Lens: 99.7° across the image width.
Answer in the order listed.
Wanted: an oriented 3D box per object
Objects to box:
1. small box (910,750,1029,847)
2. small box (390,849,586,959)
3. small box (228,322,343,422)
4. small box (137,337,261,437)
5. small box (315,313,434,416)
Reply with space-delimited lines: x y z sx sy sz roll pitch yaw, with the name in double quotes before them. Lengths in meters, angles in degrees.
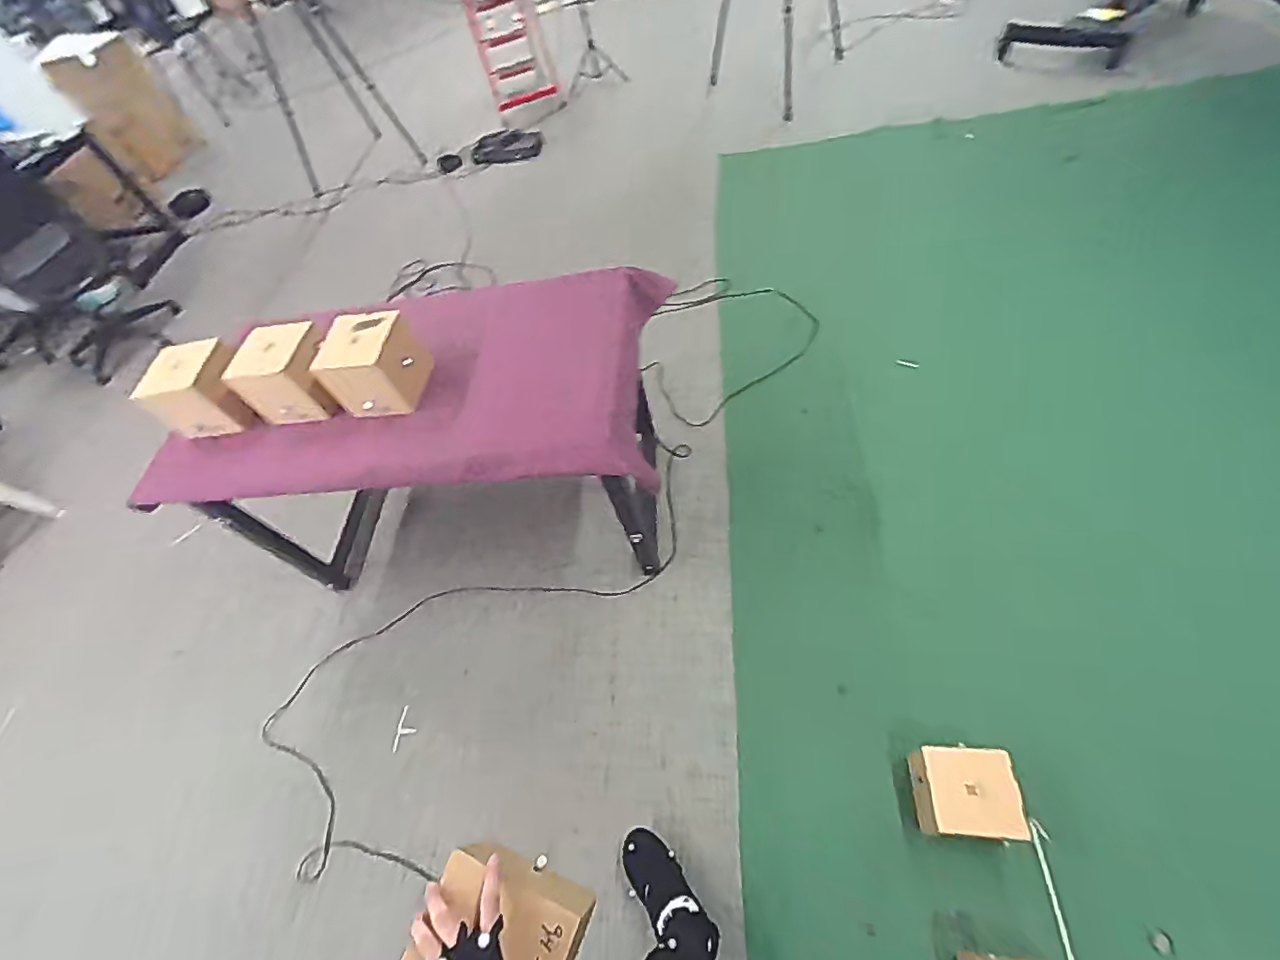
"small box" 0.719 0.714 1.209 0.179 0.176 0.168 -2 55 11
"small box" -0.184 0.581 0.663 0.179 0.176 0.168 18 62 14
"small box" -0.853 -0.266 1.343 0.168 0.176 0.179 -3 56 11
"small box" -1.099 -0.234 1.378 0.168 0.176 0.179 -7 55 9
"small box" -0.623 -0.274 1.297 0.168 0.176 0.179 -1 57 12
